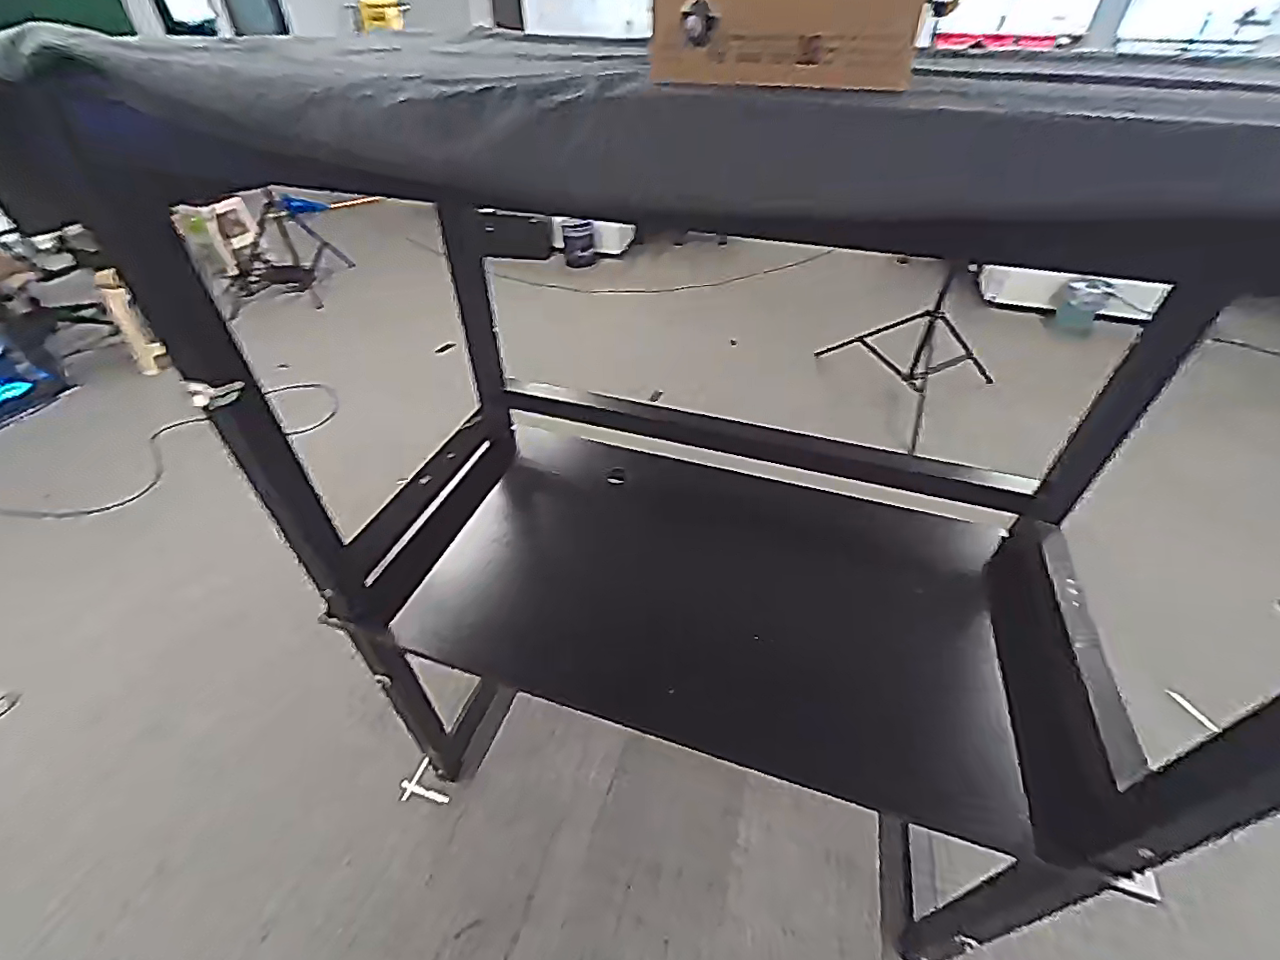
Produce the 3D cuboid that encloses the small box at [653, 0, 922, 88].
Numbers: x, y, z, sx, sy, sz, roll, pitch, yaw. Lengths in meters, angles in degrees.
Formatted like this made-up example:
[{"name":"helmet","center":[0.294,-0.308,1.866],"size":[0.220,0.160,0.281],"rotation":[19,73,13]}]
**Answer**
[{"name":"small box","center":[0.108,-0.369,0.359],"size":[0.168,0.176,0.179],"rotation":[12,41,12]}]
